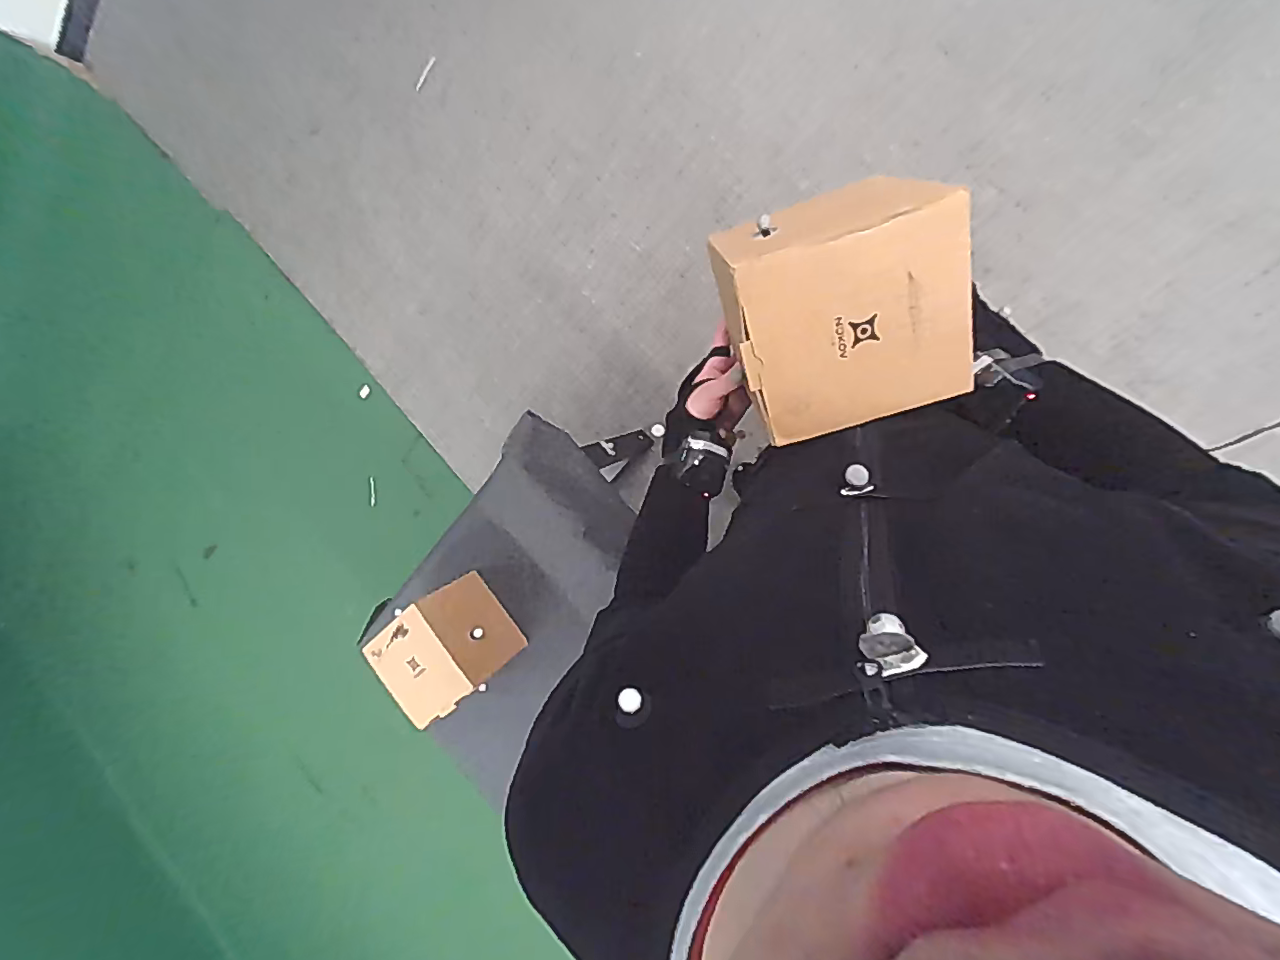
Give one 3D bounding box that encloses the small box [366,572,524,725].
[{"bbox_3d":[-0.346,0.299,0.989,0.168,0.176,0.179,-39,86,22],"label":"small box"}]
